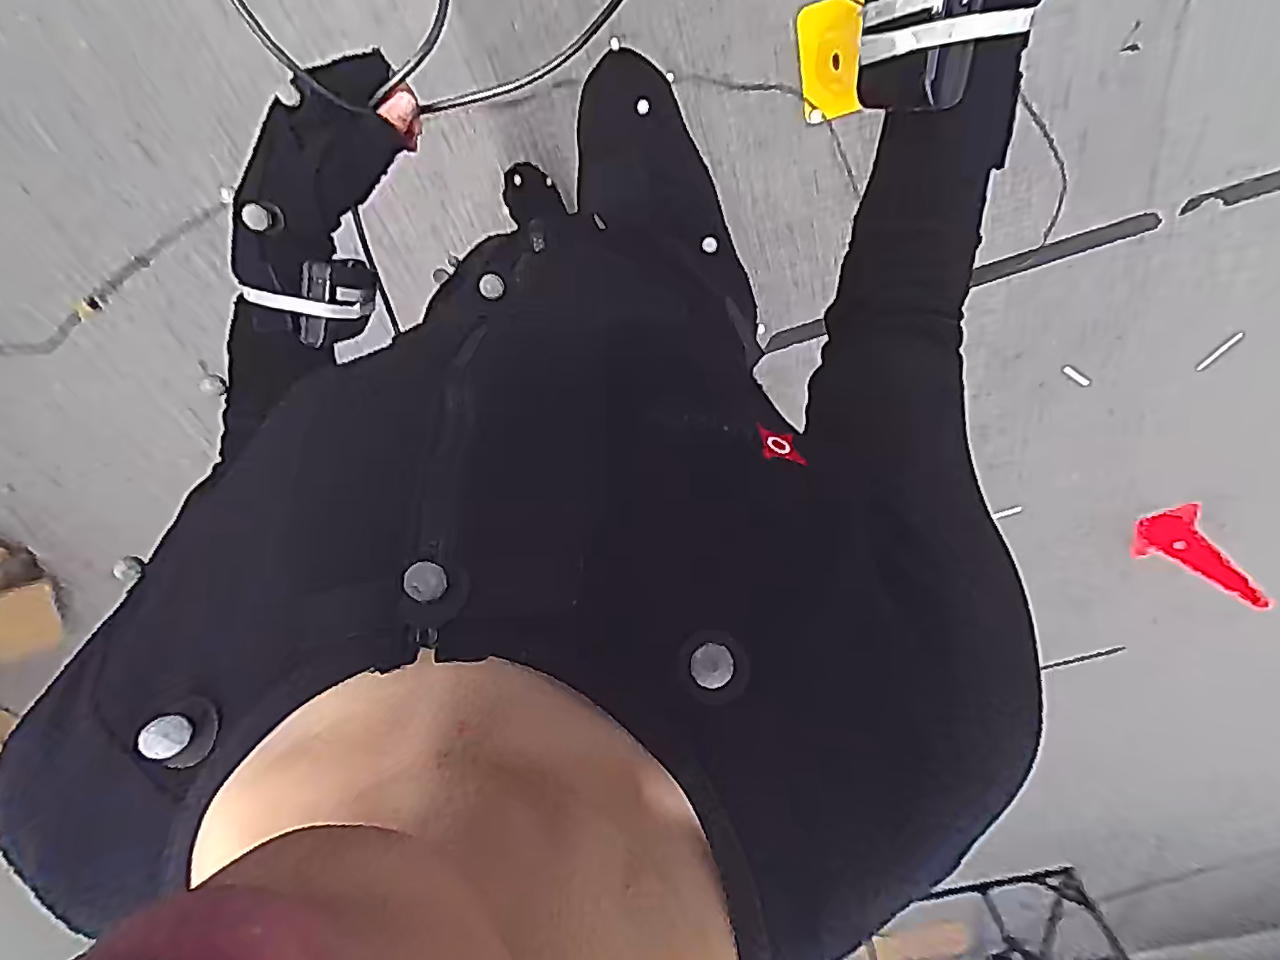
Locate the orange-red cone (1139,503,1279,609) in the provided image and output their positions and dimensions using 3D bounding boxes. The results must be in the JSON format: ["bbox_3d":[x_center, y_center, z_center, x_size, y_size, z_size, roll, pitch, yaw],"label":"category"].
[{"bbox_3d":[1.871,0.271,1.745,0.199,0.360,0.198,-22,123,9],"label":"orange-red cone"}]
